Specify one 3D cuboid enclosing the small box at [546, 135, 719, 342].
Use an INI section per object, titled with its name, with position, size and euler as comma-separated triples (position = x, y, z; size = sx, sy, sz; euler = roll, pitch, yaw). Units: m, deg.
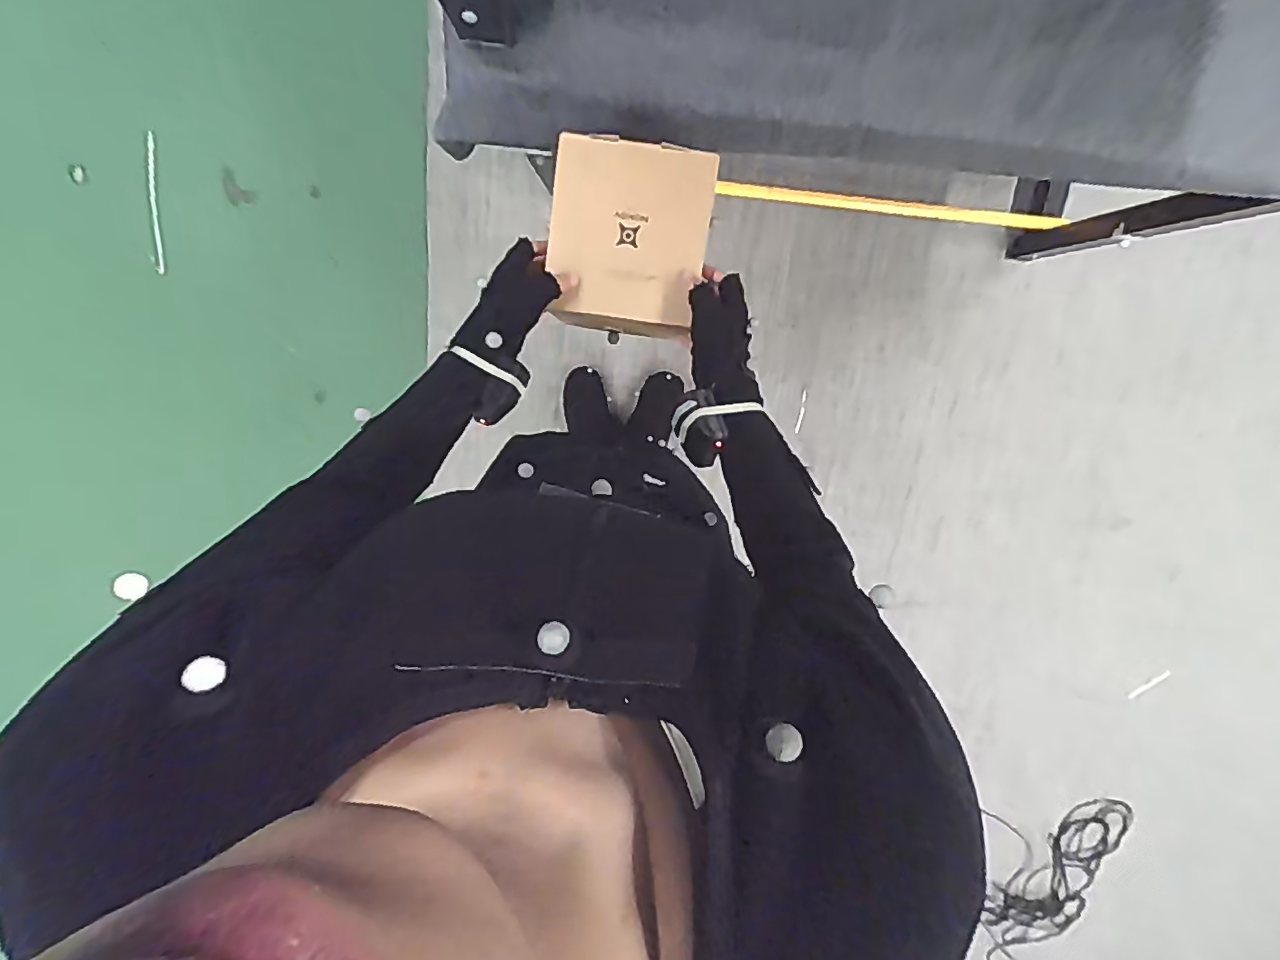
[small box]
position = -0.008, -0.270, 0.644
size = 0.168, 0.176, 0.179
euler = 7, 99, 1
